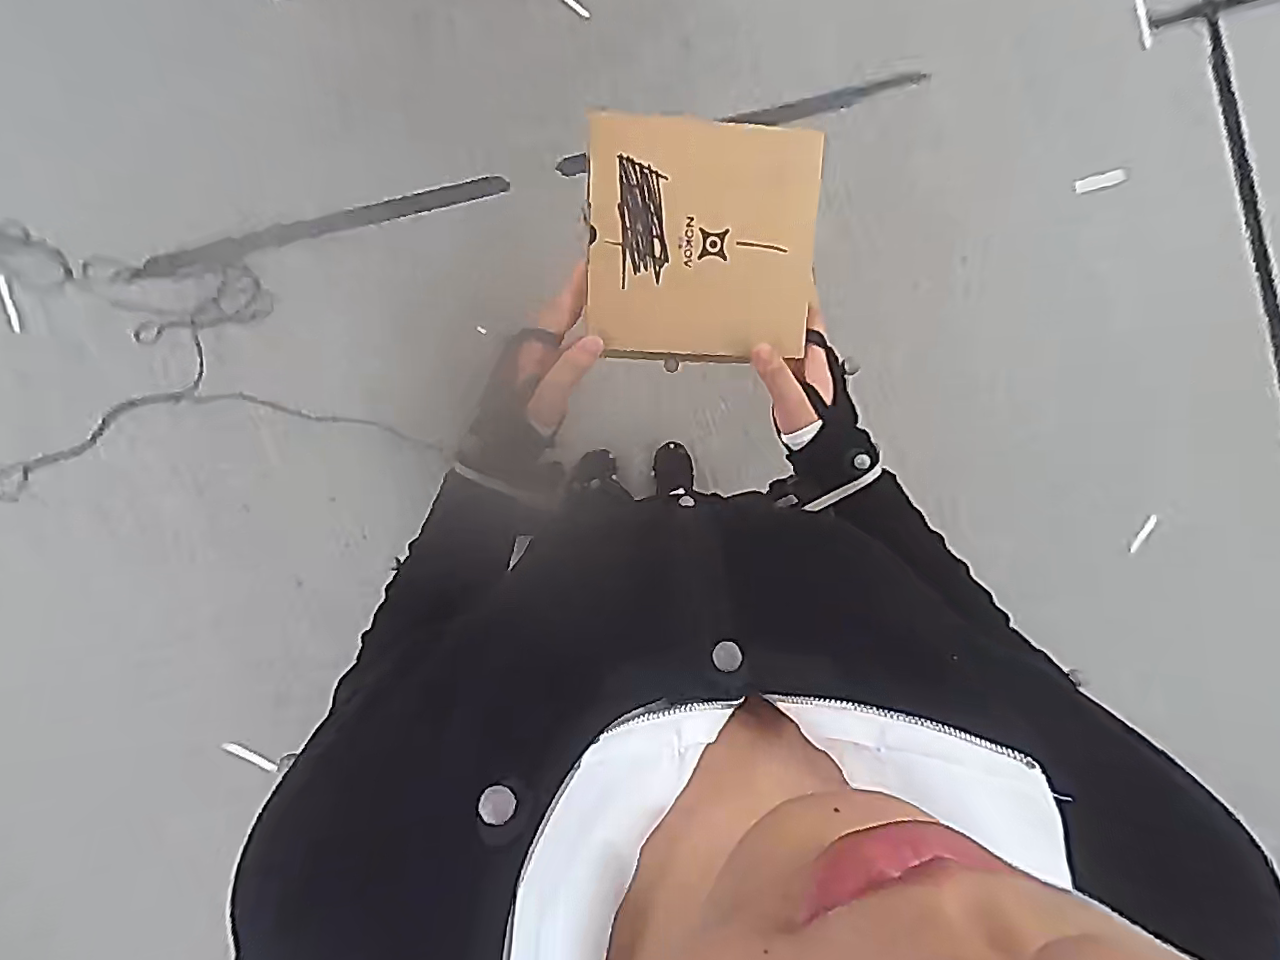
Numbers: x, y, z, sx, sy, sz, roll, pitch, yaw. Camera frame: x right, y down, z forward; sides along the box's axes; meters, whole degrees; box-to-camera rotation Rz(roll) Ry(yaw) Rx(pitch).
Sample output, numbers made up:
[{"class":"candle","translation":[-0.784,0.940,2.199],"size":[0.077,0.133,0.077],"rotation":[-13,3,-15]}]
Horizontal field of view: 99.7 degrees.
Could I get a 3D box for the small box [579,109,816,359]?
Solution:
[{"class":"small box","translation":[0.036,-0.198,0.486],"size":[0.179,0.176,0.168],"rotation":[0,100,-6]}]
